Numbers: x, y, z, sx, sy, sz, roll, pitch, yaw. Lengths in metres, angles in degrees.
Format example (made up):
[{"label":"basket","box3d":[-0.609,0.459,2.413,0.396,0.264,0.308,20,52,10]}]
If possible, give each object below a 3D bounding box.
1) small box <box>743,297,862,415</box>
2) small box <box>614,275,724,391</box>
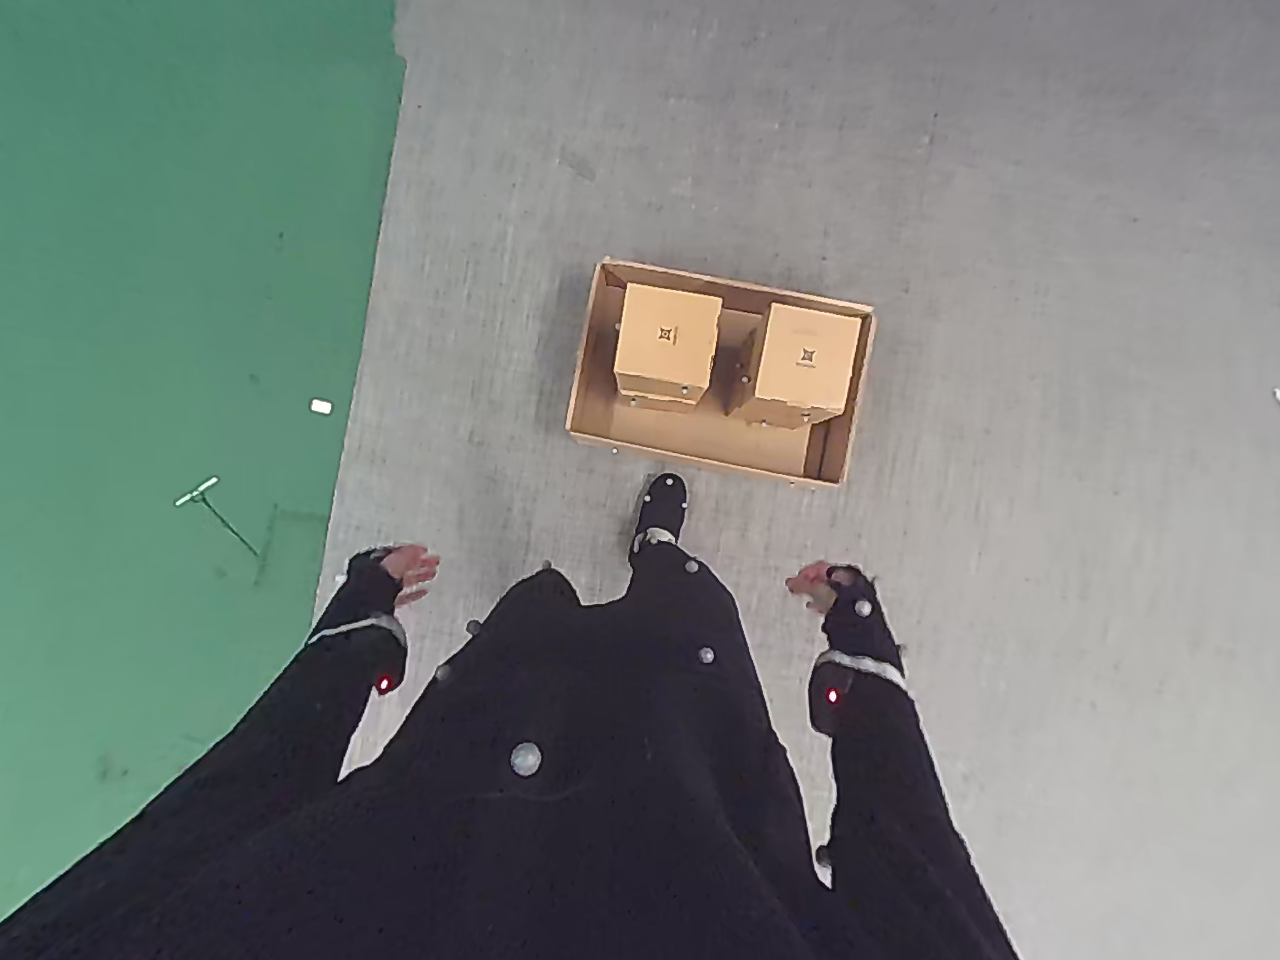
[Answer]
[{"label":"small box","box3d":[0.304,-0.230,1.052,0.168,0.176,0.179,12,90,1]},{"label":"small box","box3d":[0.053,-0.276,1.055,0.179,0.176,0.168,10,90,0]}]
